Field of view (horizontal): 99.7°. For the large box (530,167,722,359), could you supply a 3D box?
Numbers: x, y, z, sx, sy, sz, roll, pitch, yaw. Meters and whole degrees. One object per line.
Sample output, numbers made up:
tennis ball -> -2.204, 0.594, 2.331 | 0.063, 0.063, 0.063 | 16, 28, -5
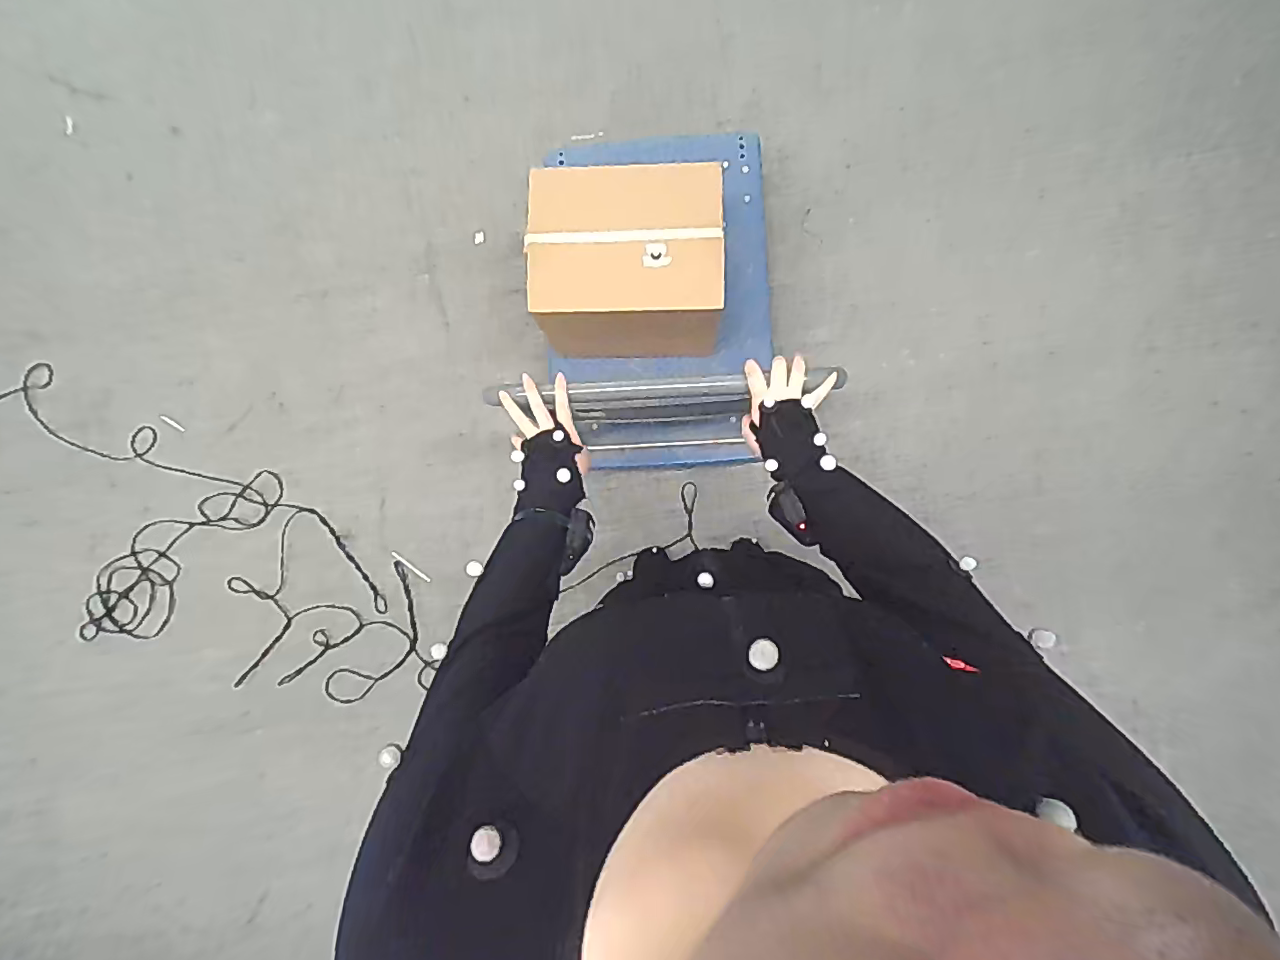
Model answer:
large box -> -0.028, -0.487, 1.275 | 0.408, 0.320, 0.320 | 0, 85, 2
